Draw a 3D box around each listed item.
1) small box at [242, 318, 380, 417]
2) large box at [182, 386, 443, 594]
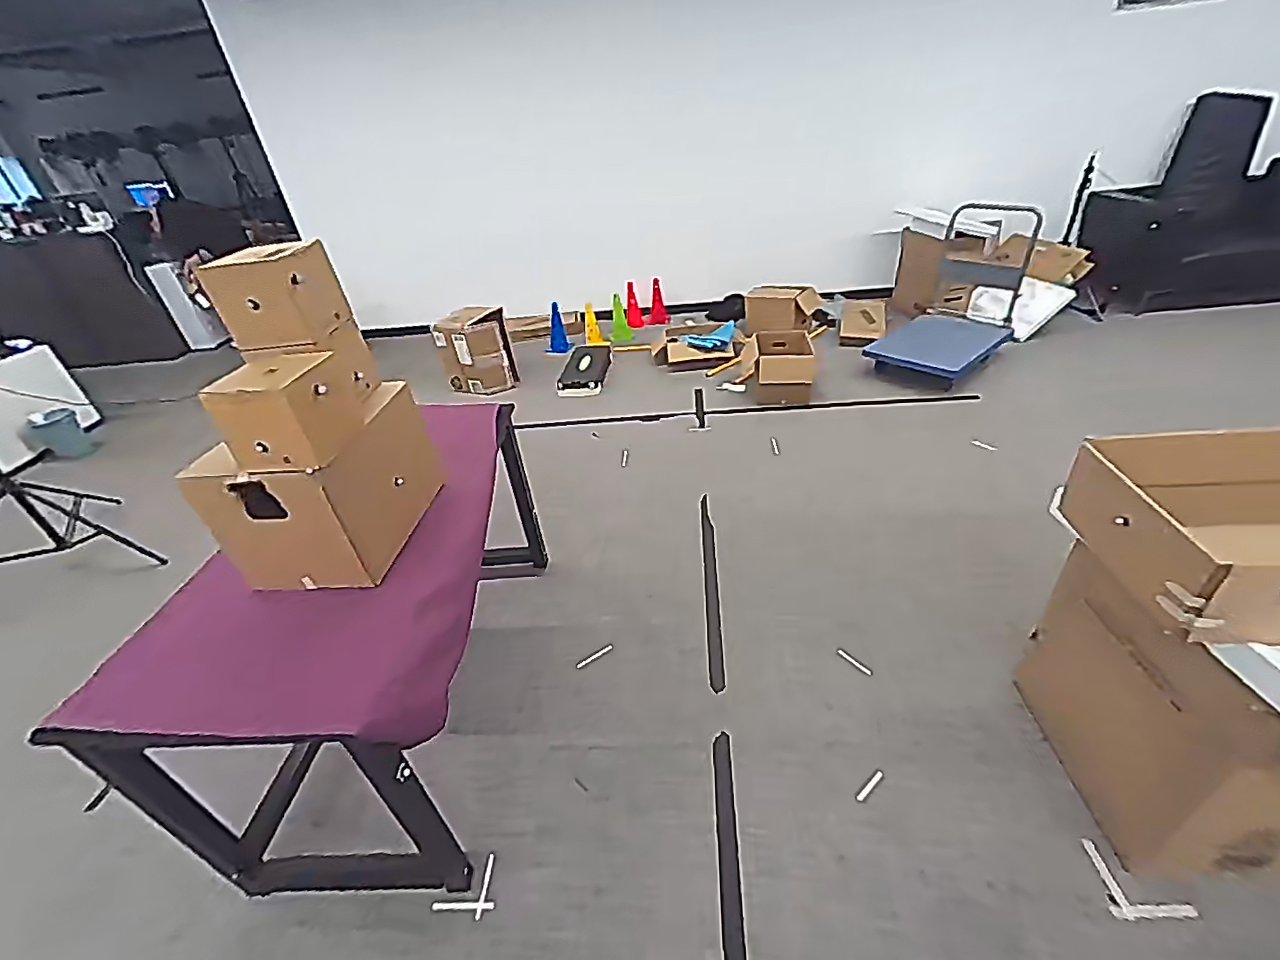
[{"bbox_3d":[-0.735,-0.253,1.229,0.179,0.176,0.168,-3,36,6],"label":"small box"},{"bbox_3d":[-0.716,0.013,1.276,0.320,0.320,0.408,-5,35,7],"label":"large box"}]
